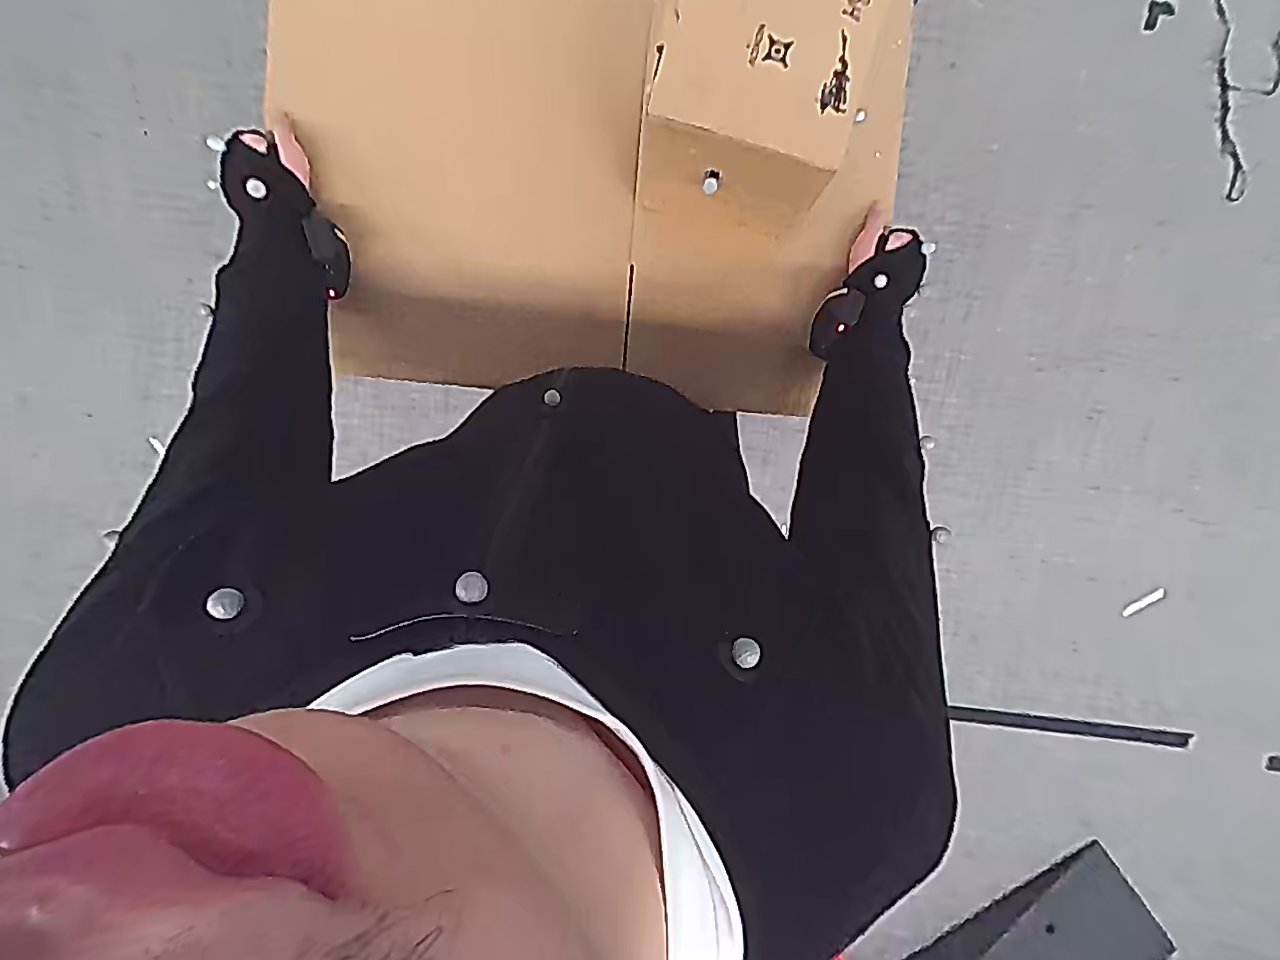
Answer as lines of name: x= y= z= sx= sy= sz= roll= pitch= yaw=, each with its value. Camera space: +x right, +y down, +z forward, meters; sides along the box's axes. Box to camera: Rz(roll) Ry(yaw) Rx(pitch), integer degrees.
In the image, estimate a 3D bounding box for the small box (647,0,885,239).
small box: x=0.110 y=-0.372 z=0.548 sx=0.179 sy=0.176 sz=0.168 roll=15 pitch=92 yaw=-1
